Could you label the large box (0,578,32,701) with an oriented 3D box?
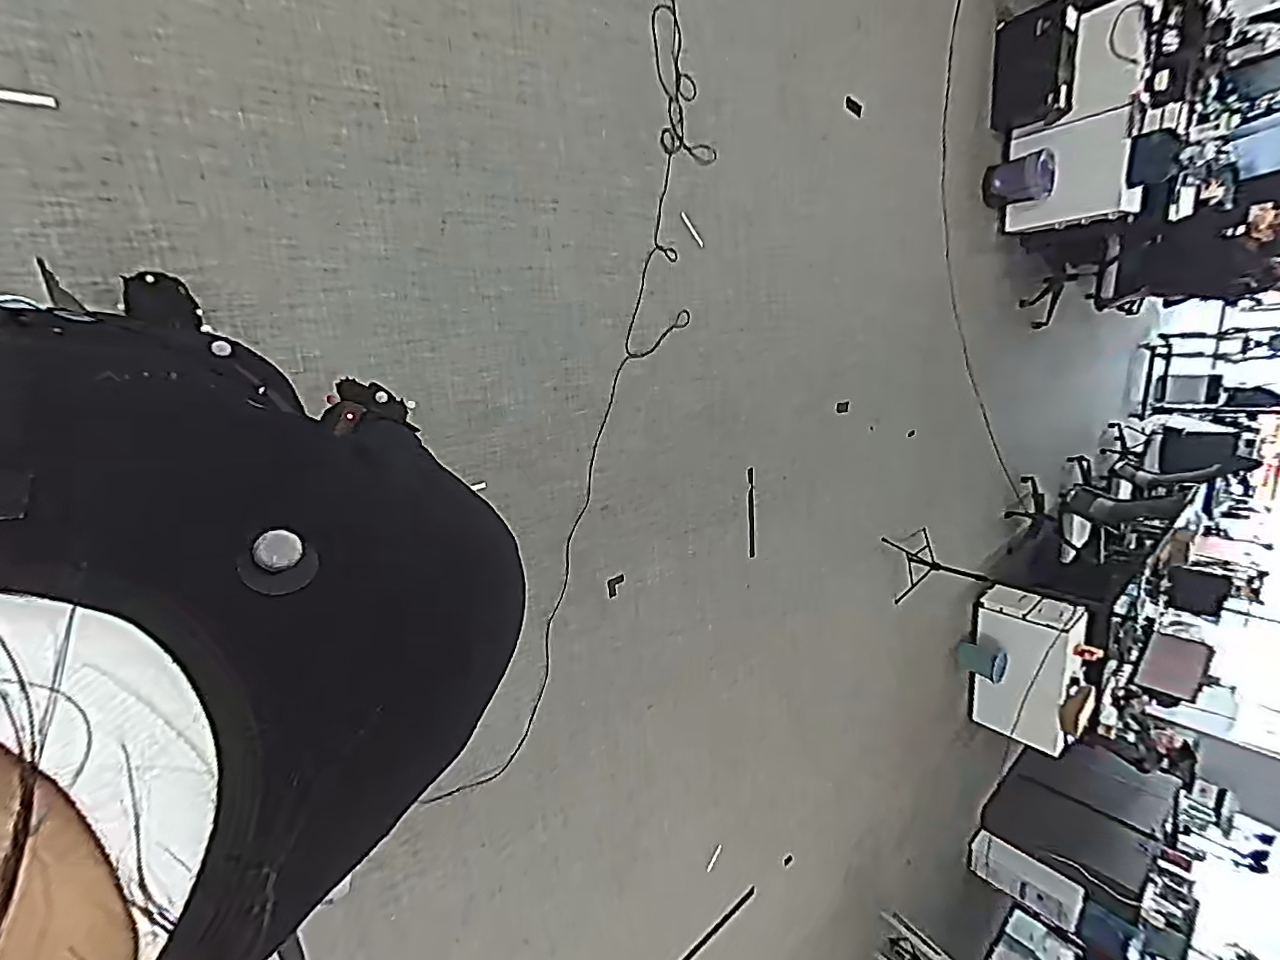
[{"bbox_3d":[-0.930,0.089,0.531,0.320,0.408,0.320,-29,147,-38],"label":"large box"}]
